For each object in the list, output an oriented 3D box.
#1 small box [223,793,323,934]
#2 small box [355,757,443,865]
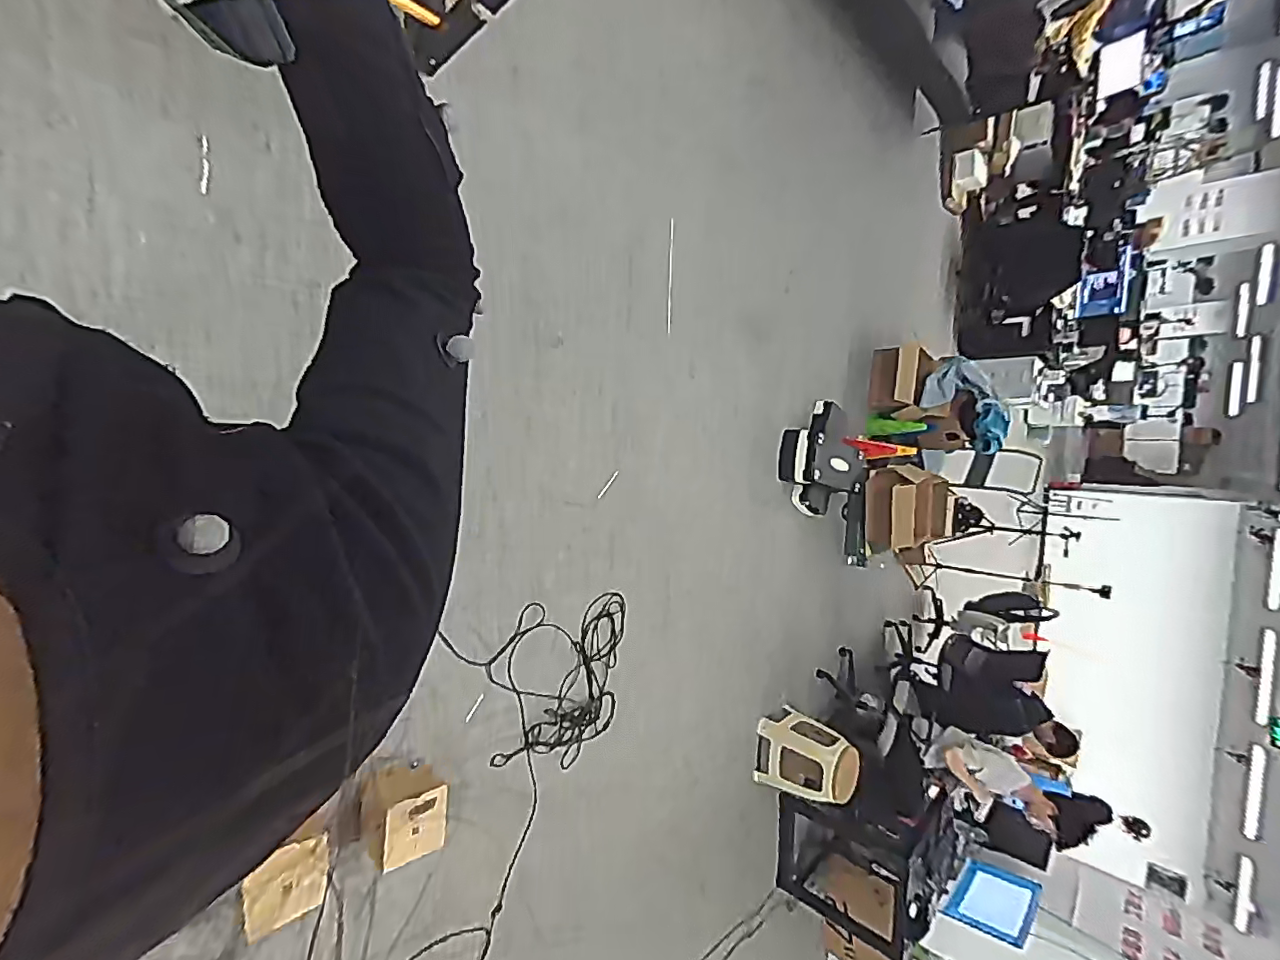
[{"bbox_3d":[-0.861,0.885,1.269,0.168,0.176,0.179,-4,96,-47],"label":"small box"},{"bbox_3d":[-0.662,0.890,1.481,0.168,0.176,0.179,3,92,-47],"label":"small box"}]
